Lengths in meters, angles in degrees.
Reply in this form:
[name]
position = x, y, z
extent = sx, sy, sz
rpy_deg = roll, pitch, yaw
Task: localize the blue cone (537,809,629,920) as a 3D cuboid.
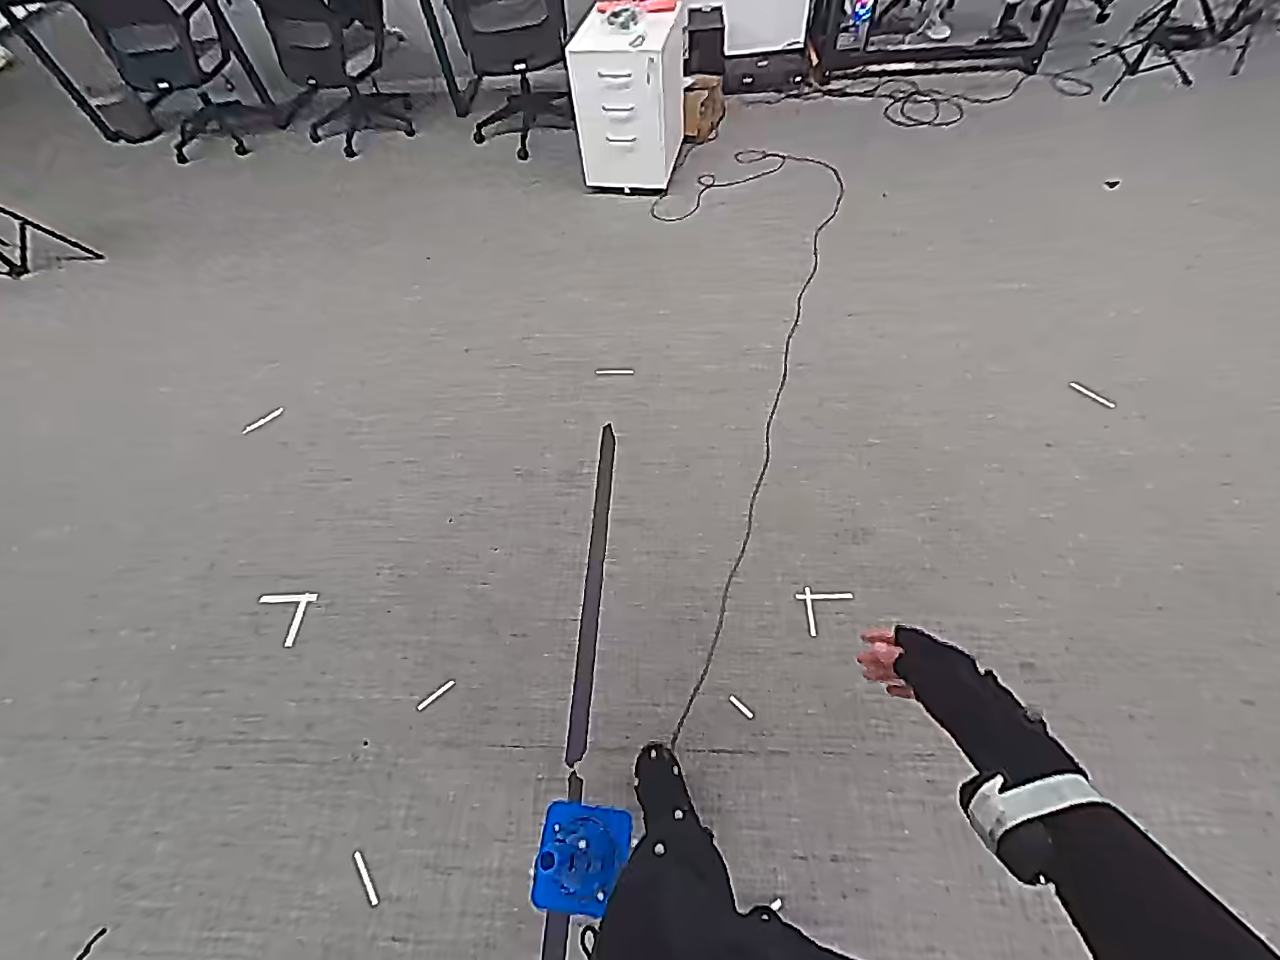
[blue cone]
position = -0.131, 0.736, 1.036
extent = 0.193, 0.380, 0.192
rpy_deg = 3, 56, 6
